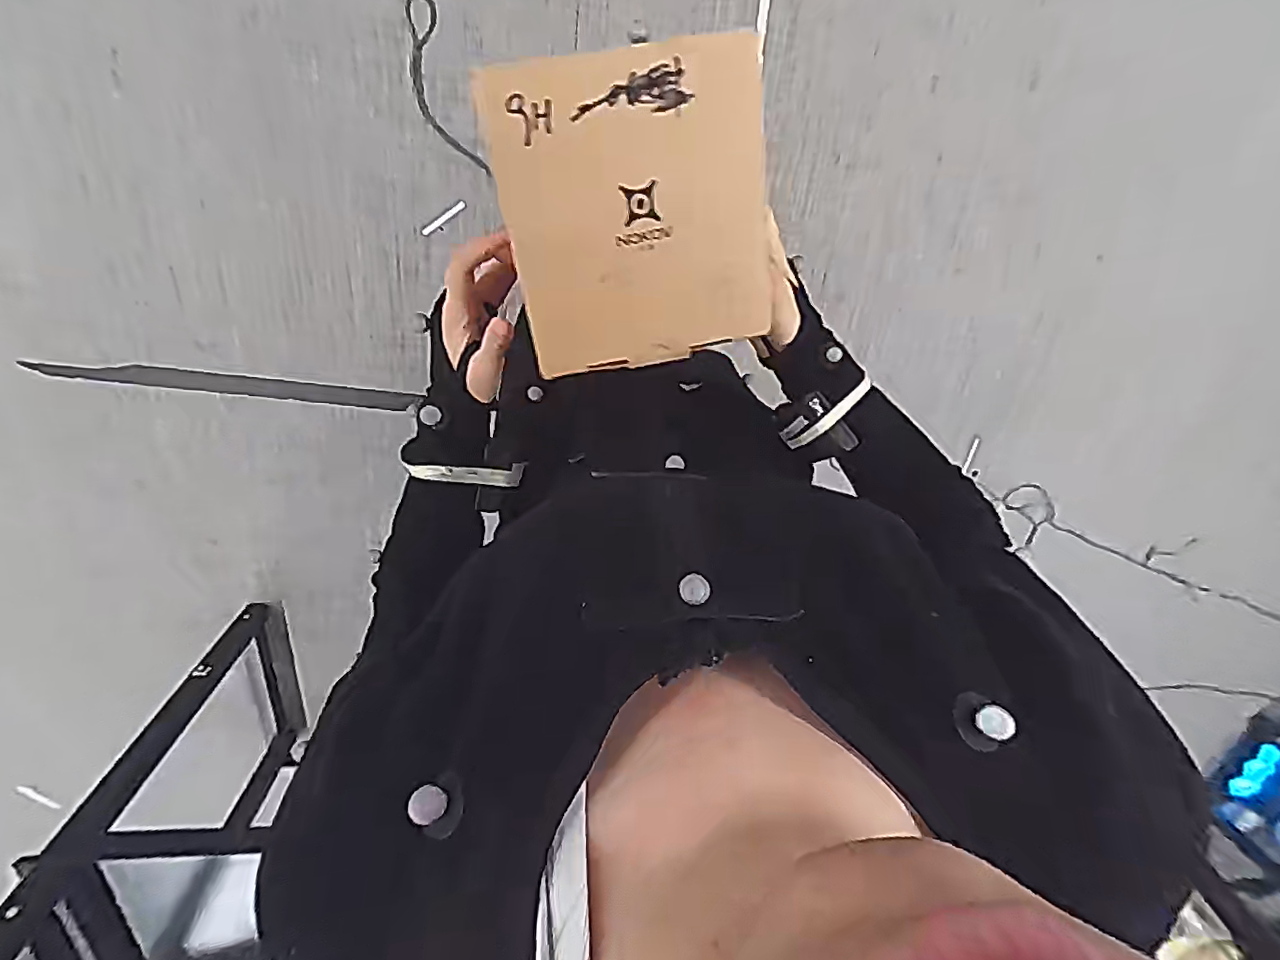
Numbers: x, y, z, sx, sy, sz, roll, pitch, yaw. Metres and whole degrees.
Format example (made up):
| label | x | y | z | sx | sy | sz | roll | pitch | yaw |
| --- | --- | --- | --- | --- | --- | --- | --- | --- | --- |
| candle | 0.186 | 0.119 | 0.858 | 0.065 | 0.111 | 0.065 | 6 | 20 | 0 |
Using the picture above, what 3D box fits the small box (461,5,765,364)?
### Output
| label | x | y | z | sx | sy | sz | roll | pitch | yaw |
| --- | --- | --- | --- | --- | --- | --- | --- | --- | --- |
| small box | -0.019 | -0.205 | 0.398 | 0.168 | 0.176 | 0.179 | -14 | 119 | -6 |
